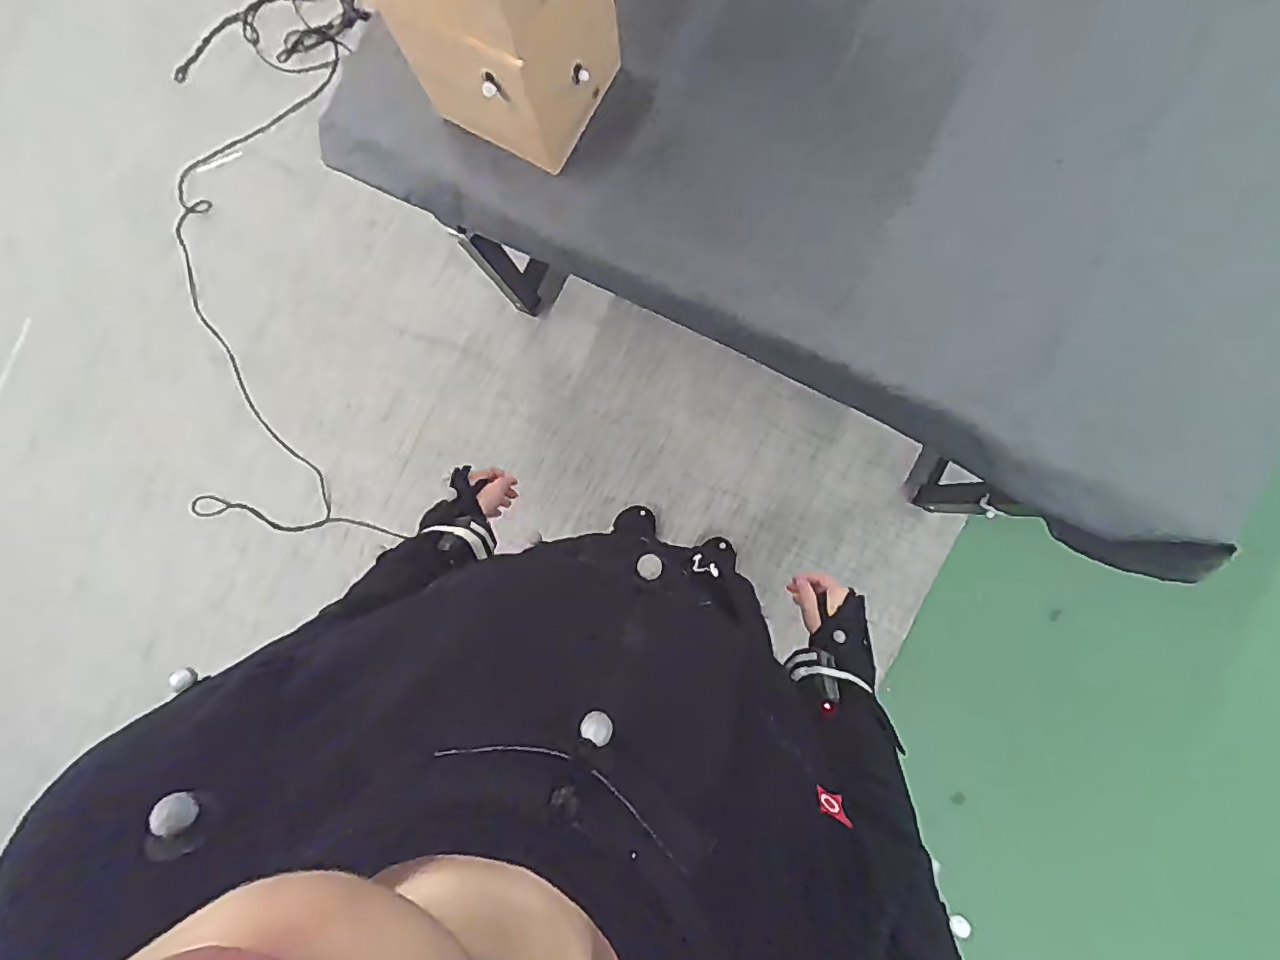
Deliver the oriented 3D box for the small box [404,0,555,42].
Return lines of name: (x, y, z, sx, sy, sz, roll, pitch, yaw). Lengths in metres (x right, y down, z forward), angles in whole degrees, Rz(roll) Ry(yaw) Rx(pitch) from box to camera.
small box: (-0.151, -0.508, 0.430, 0.179, 0.176, 0.168, 26, 89, 5)

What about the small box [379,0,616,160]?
small box: (-0.140, -0.496, 0.593, 0.179, 0.176, 0.168, 29, 89, 4)
